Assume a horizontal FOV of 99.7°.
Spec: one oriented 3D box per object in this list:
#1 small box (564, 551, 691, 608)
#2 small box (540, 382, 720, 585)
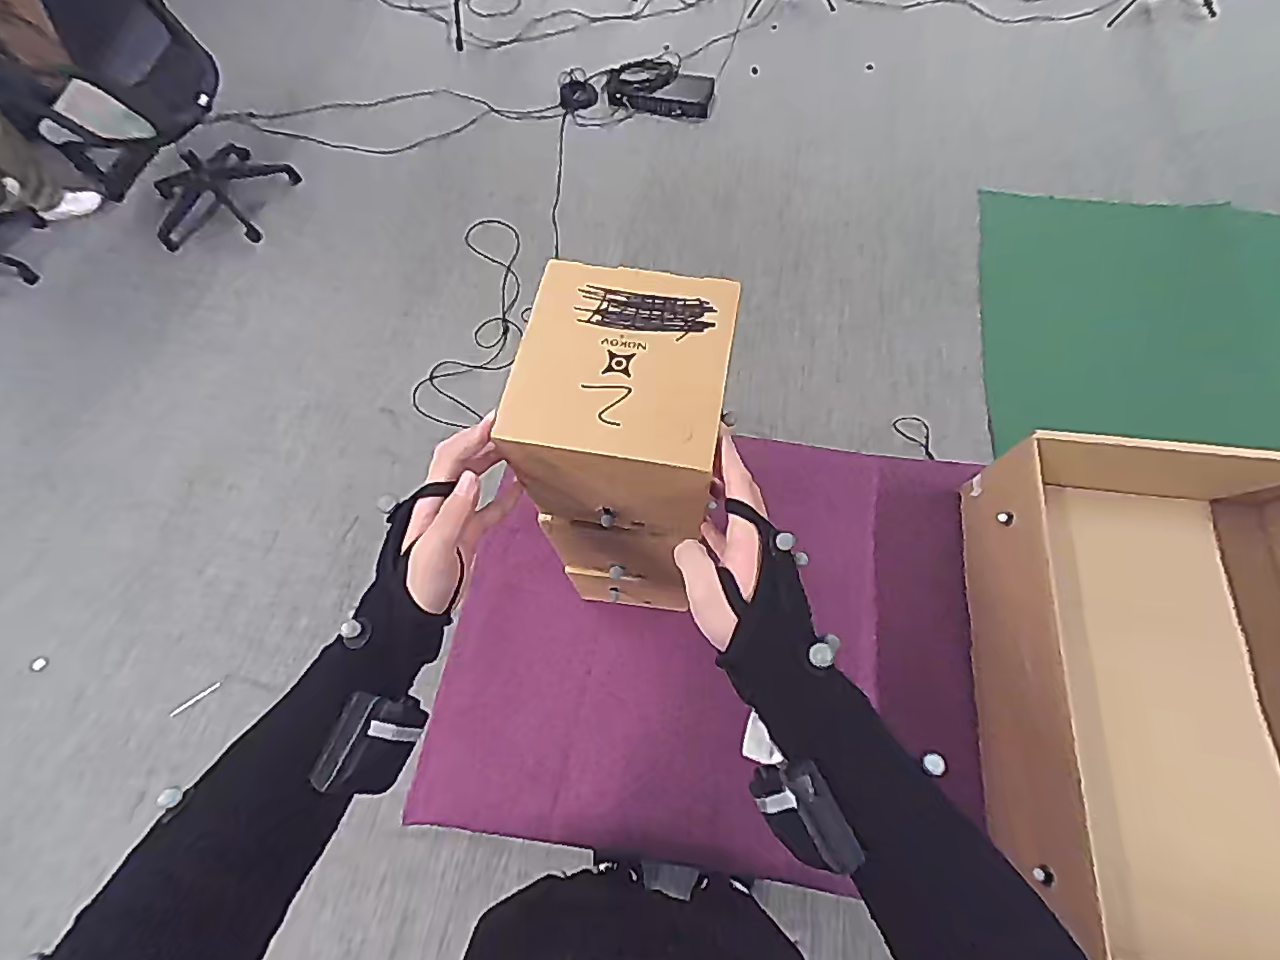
[{"bbox_3d":[-0.003,0.083,0.802,0.168,0.176,0.179,6,64,6],"label":"small box"},{"bbox_3d":[-0.004,0.010,0.654,0.168,0.176,0.179,10,66,8],"label":"small box"}]
